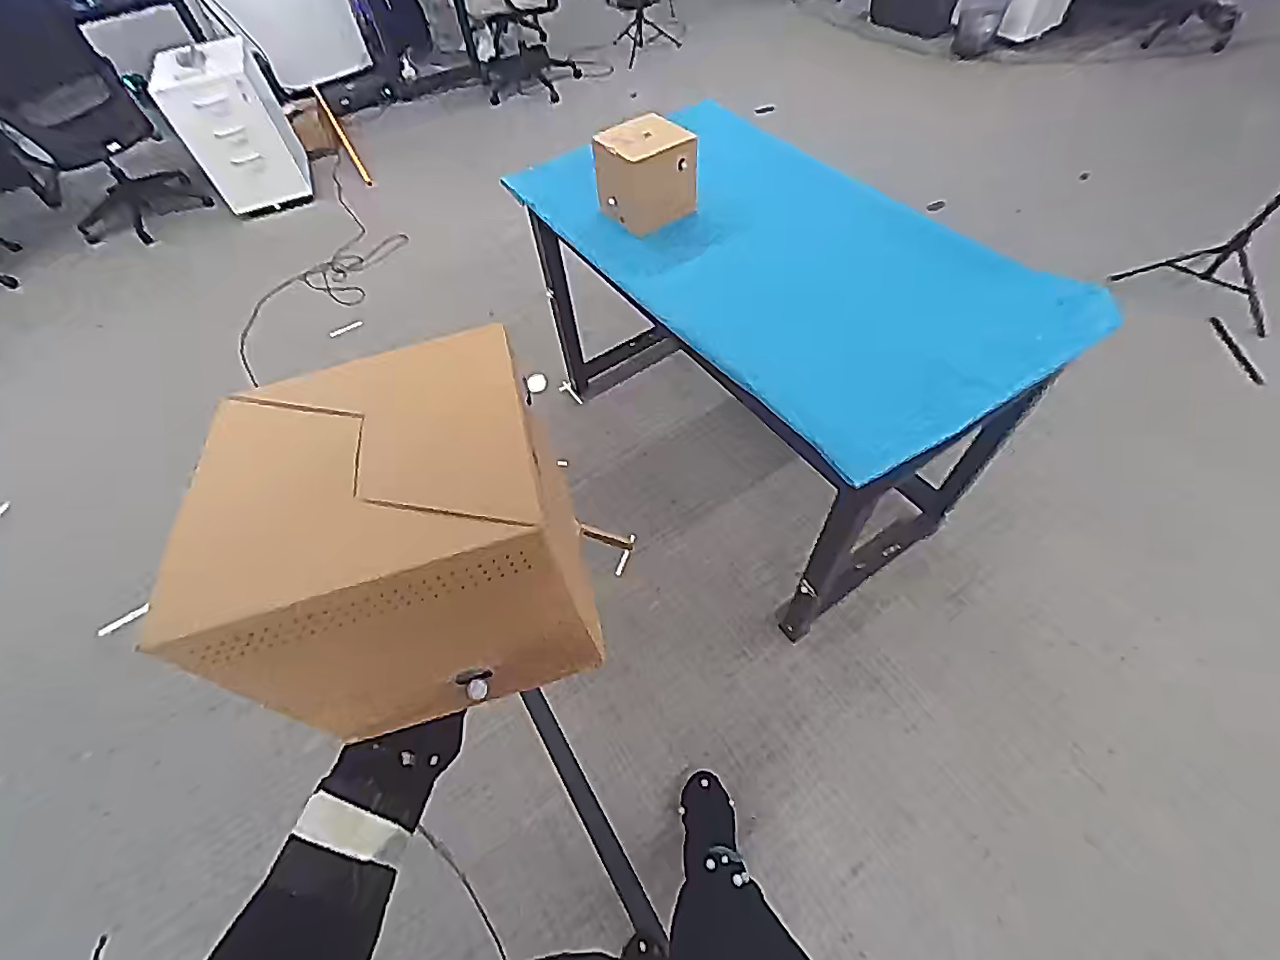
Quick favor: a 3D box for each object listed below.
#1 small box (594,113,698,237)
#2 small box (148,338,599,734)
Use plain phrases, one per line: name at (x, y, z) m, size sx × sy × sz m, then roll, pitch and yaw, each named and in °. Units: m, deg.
small box at (0.018, -0.698, 1.243) m, size 0.179 × 0.176 × 0.168 m, roll -30°, pitch 58°, yaw -12°
small box at (-0.141, 0.035, 0.346) m, size 0.179 × 0.176 × 0.168 m, roll -16°, pitch 51°, yaw -4°
